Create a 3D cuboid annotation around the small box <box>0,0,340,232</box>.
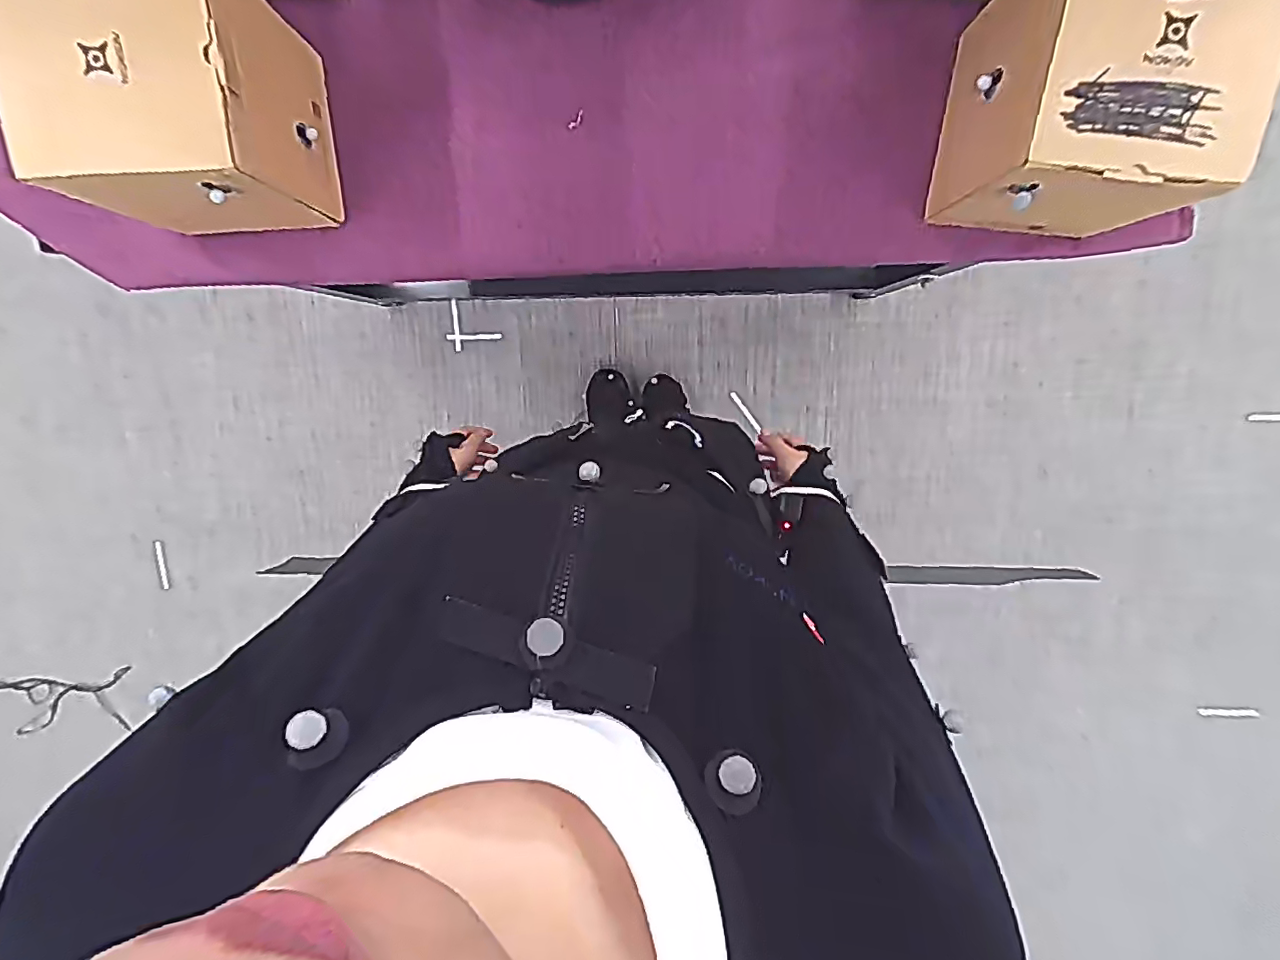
[{"bbox_3d":[-0.416,-0.339,0.499,0.179,0.176,0.168,-4,101,-1],"label":"small box"}]
